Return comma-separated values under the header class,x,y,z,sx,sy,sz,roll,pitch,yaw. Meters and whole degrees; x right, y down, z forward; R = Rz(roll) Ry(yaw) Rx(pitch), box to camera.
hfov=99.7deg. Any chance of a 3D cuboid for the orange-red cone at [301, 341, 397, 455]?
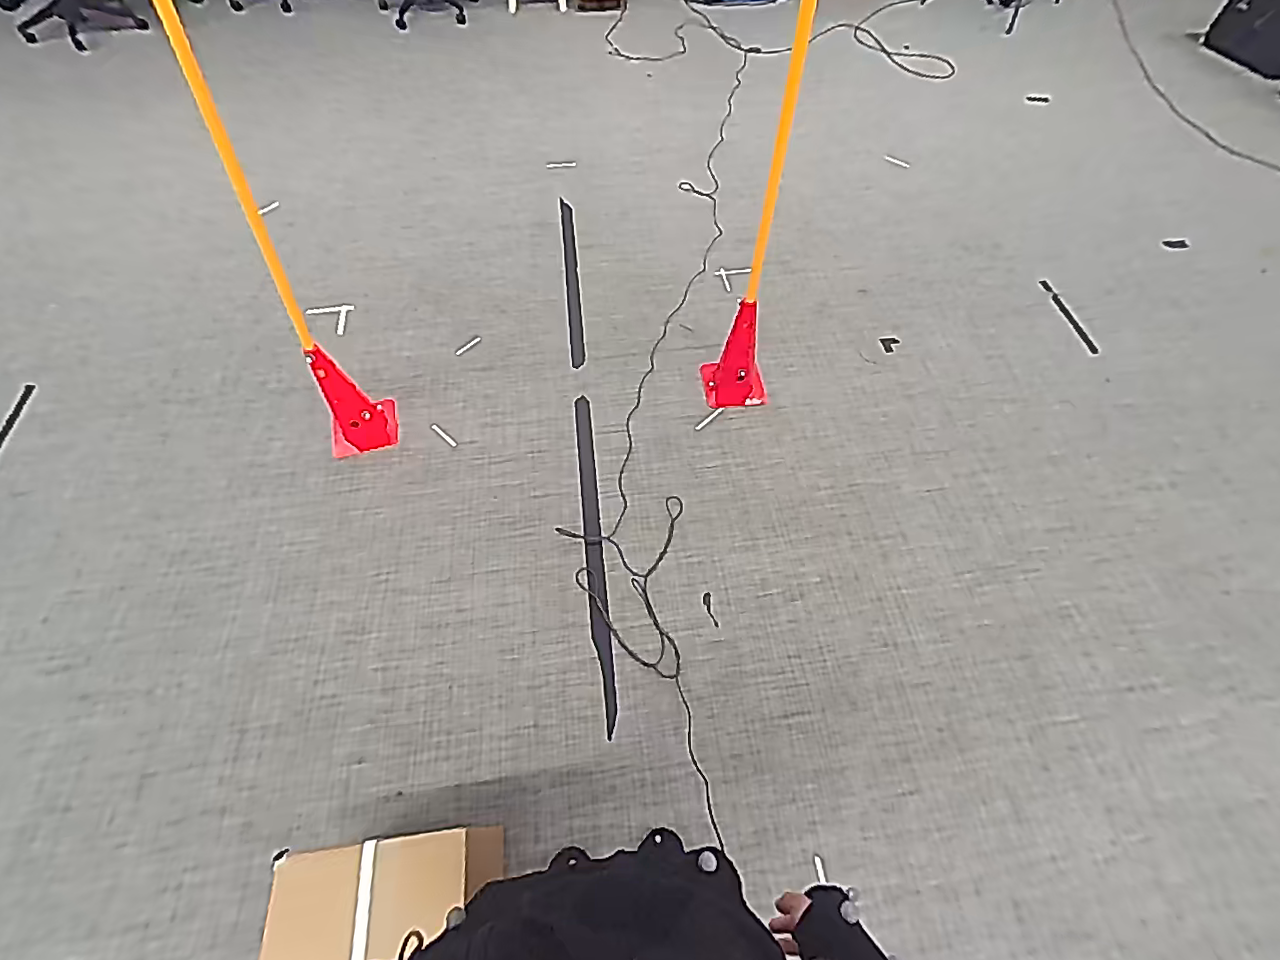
class,x,y,z,sx,sy,sz,roll,pitch,yaw
orange-red cone,-0.881,-0.262,1.580,0.199,0.360,0.198,-14,59,-8
